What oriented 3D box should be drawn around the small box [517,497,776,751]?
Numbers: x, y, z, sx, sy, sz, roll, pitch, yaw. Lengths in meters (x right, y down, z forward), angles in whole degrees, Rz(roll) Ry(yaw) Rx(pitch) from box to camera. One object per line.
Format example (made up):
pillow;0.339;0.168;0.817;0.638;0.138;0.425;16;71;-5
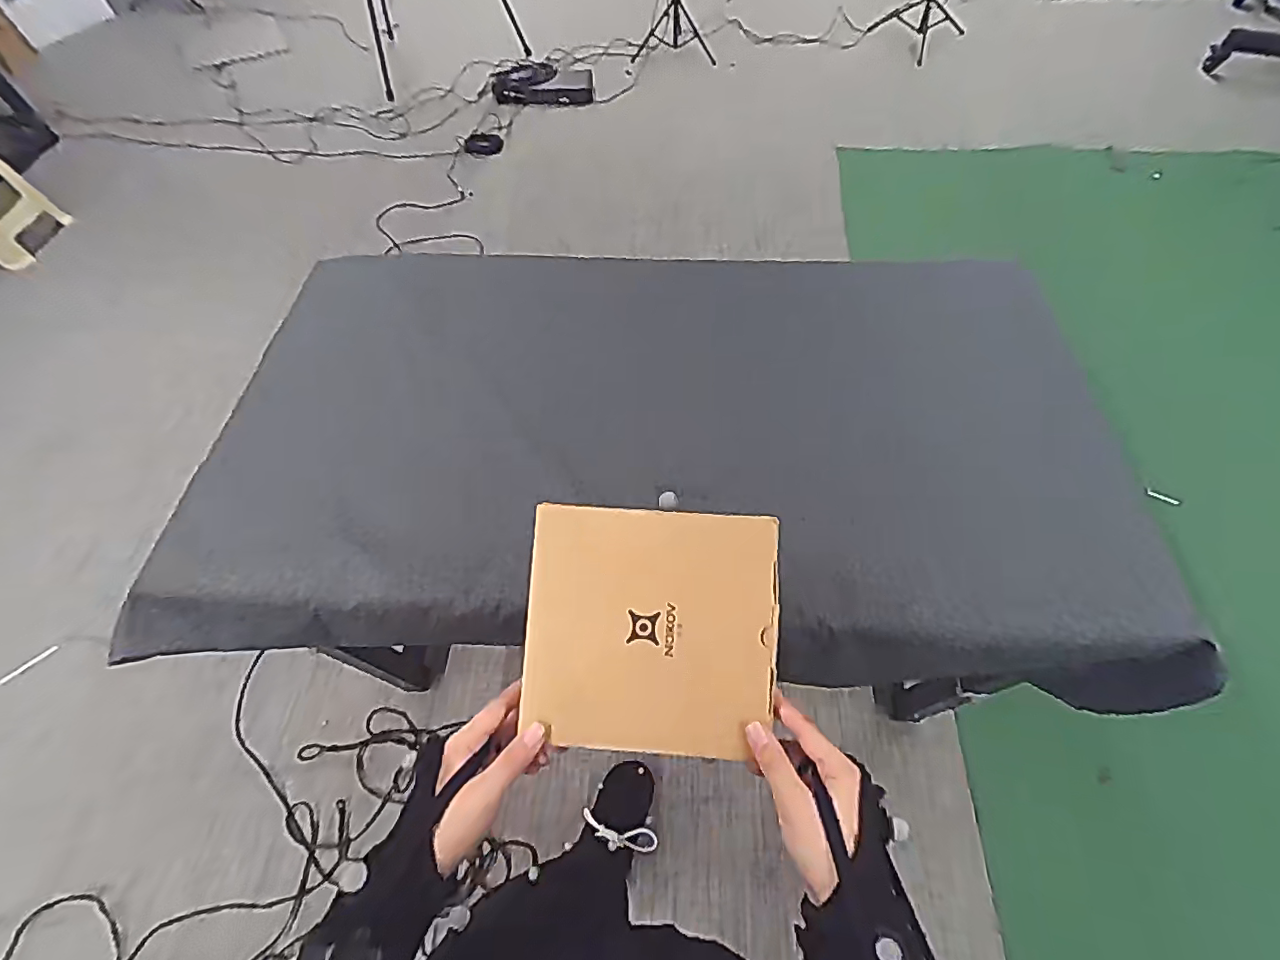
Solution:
small box;0.008;0.110;0.460;0.179;0.176;0.168;3;82;1
